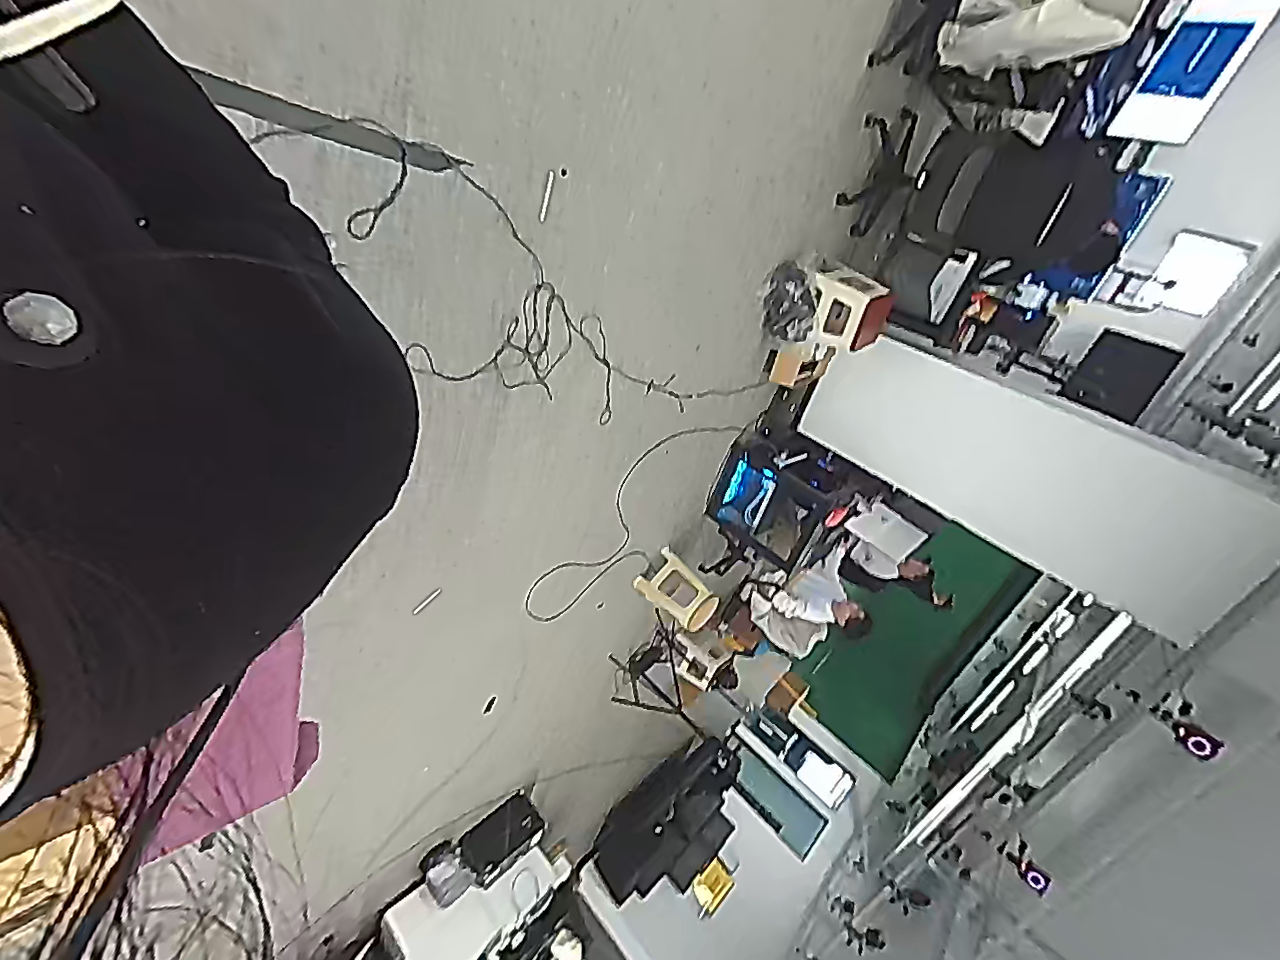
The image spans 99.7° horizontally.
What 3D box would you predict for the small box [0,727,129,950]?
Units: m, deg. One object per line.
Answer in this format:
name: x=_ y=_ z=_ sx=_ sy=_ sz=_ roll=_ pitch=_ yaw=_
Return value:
small box: x=-0.805 y=0.472 z=0.714 sx=0.168 sy=0.176 sz=0.179 roll=-11 pitch=129 yaw=-49
